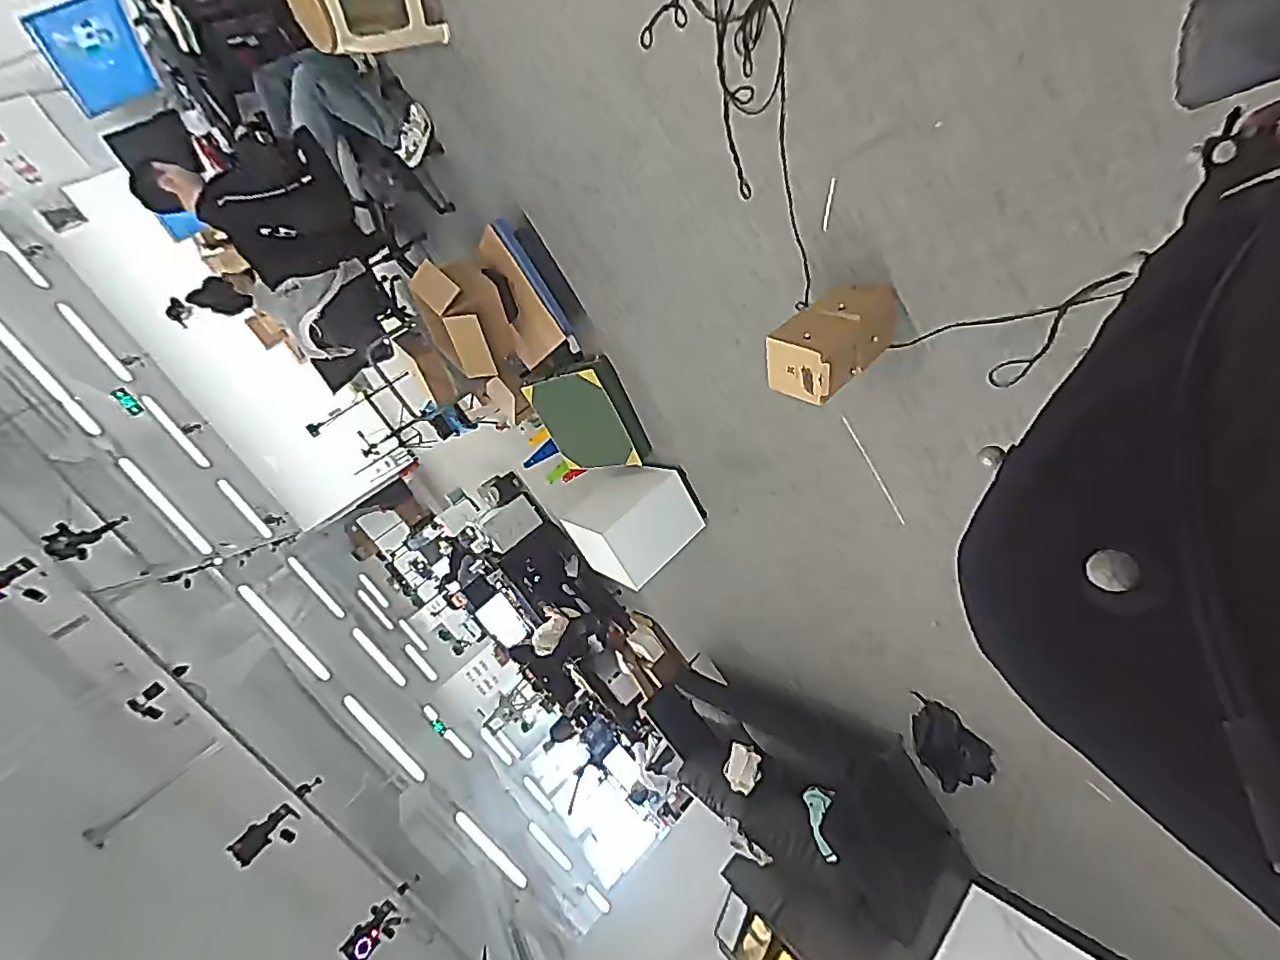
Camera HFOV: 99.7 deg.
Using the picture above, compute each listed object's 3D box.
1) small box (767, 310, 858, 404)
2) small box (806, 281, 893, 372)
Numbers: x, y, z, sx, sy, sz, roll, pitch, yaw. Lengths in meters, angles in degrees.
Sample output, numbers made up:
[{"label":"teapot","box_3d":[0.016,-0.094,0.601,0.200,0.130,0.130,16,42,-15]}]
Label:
[{"label":"small box","box_3d":[0.469,-0.340,1.468,0.179,0.176,0.168,32,150,39]},{"label":"small box","box_3d":[0.593,-0.435,1.523,0.168,0.176,0.179,27,148,43]}]
